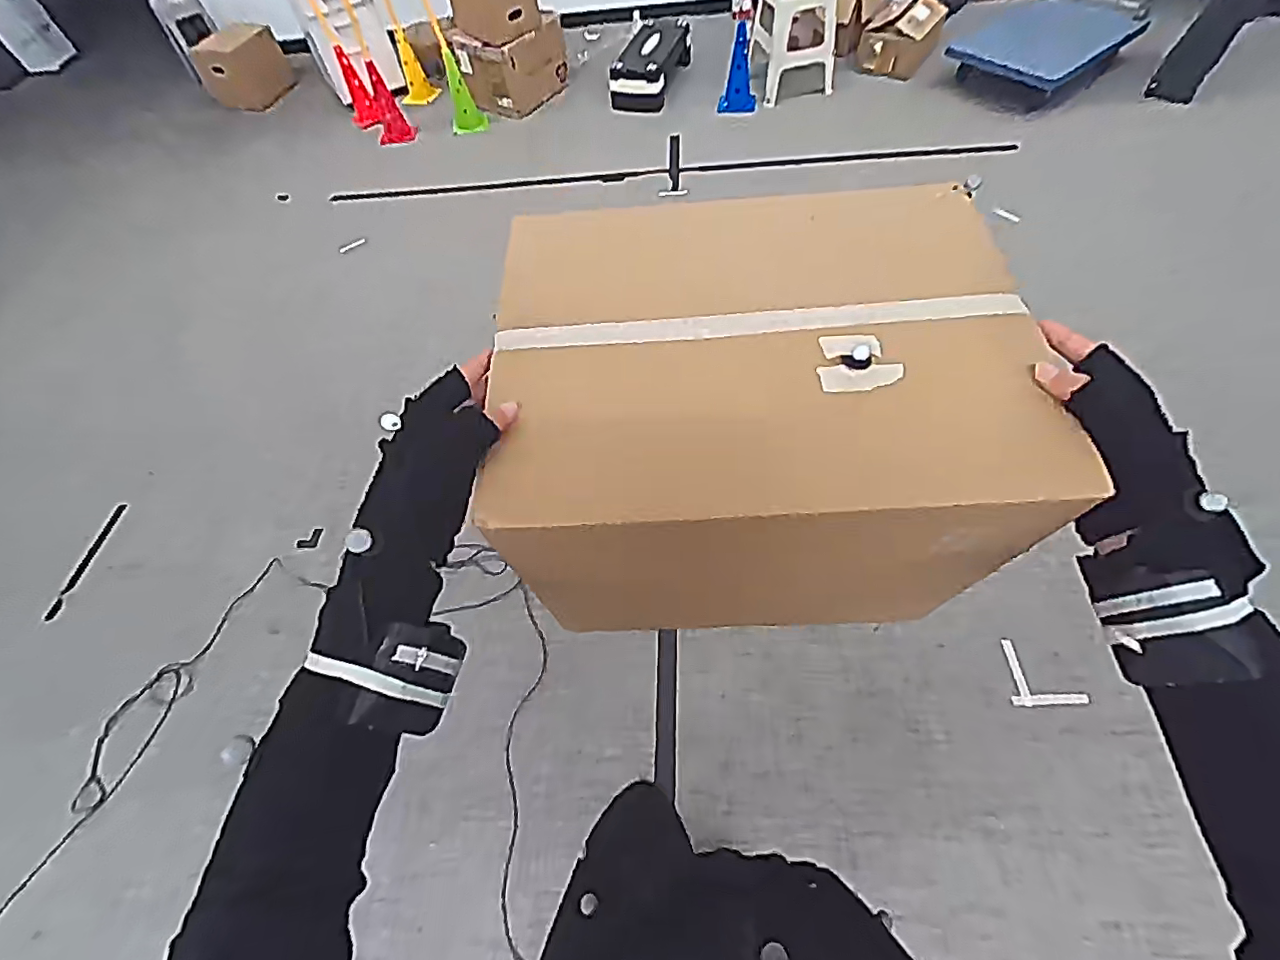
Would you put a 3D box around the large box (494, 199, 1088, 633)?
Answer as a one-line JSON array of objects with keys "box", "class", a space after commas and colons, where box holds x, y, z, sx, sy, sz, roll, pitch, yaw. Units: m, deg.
[{"box": [0.097, -0.040, 0.558, 0.408, 0.320, 0.320, -3, 62, 2], "class": "large box"}]
